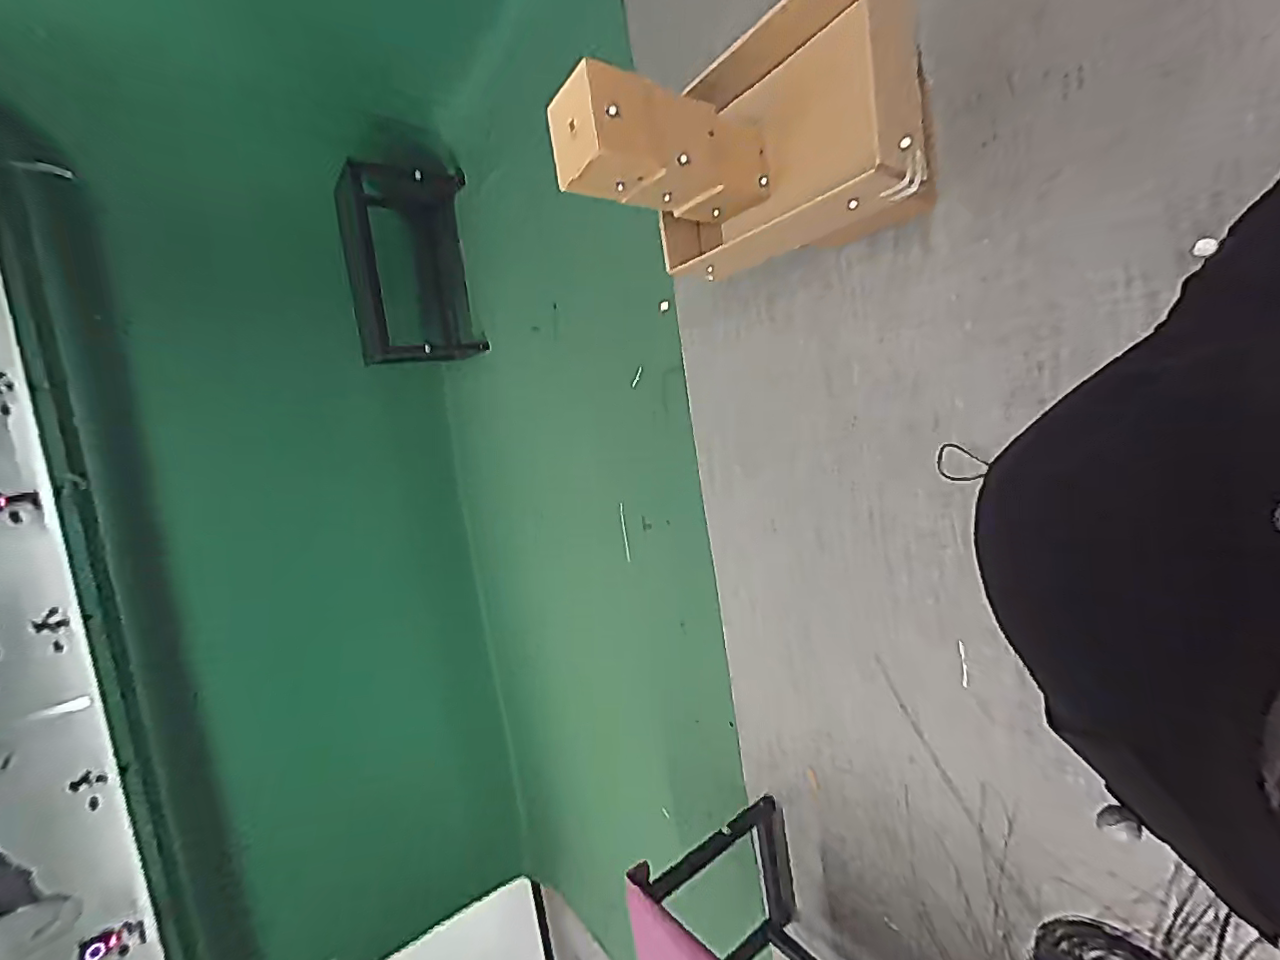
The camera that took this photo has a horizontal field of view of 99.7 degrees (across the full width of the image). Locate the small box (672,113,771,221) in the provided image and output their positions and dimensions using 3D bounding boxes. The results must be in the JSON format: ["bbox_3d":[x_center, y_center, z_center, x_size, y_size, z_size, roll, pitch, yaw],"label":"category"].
[{"bbox_3d":[0.206,-0.756,1.327,0.179,0.176,0.168,1,100,54],"label":"small box"}]

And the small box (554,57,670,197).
[{"bbox_3d":[-0.057,-0.725,1.135,0.168,0.176,0.179,-3,97,55],"label":"small box"}]
